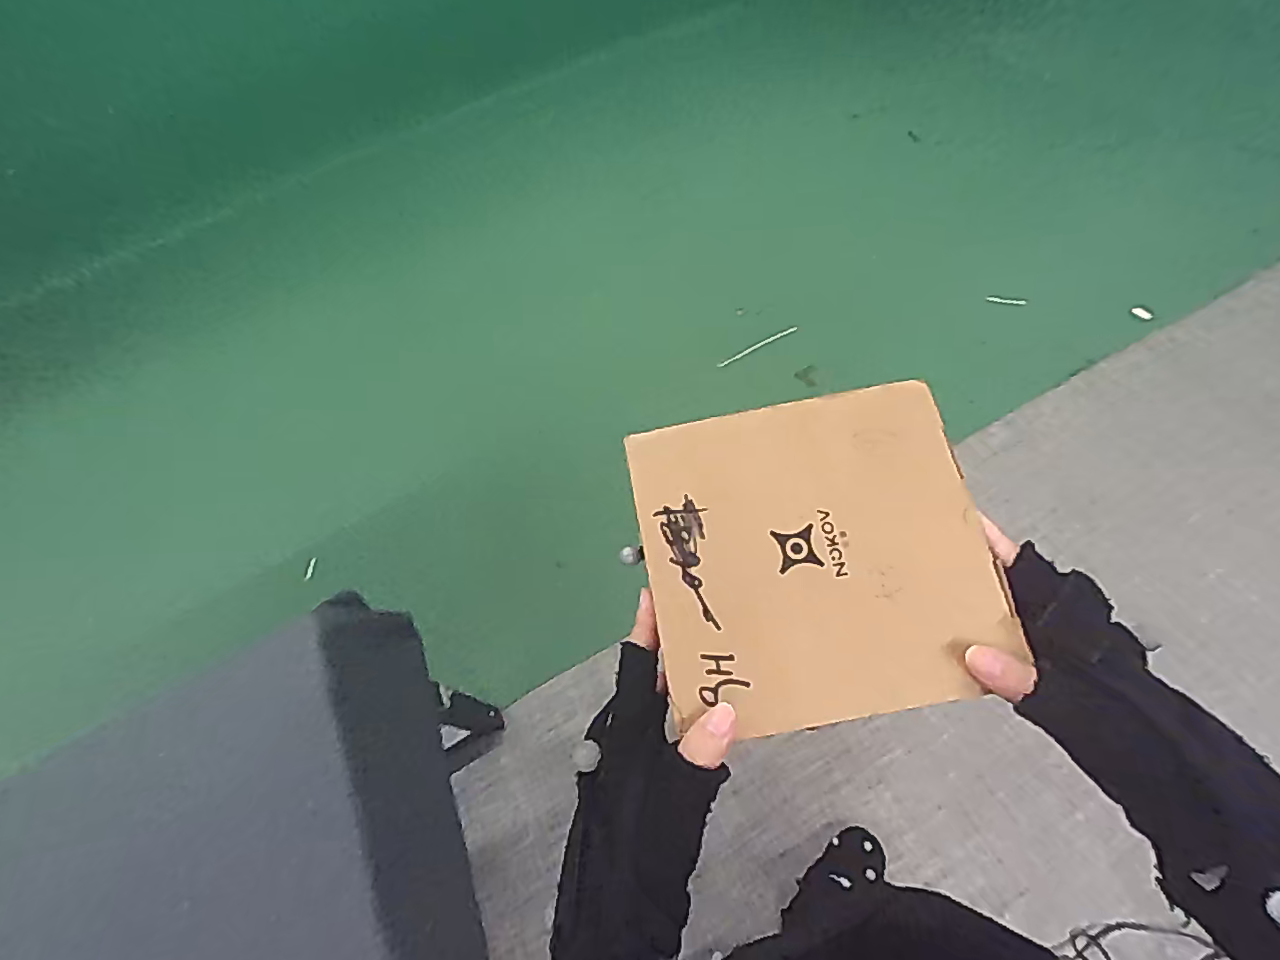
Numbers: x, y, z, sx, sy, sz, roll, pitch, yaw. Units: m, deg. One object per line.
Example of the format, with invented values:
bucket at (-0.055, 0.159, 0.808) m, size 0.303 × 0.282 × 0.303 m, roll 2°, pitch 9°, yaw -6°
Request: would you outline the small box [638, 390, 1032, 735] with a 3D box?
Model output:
small box at (0.098, 0.062, 0.361) m, size 0.179 × 0.176 × 0.168 m, roll -9°, pitch 69°, yaw 1°
